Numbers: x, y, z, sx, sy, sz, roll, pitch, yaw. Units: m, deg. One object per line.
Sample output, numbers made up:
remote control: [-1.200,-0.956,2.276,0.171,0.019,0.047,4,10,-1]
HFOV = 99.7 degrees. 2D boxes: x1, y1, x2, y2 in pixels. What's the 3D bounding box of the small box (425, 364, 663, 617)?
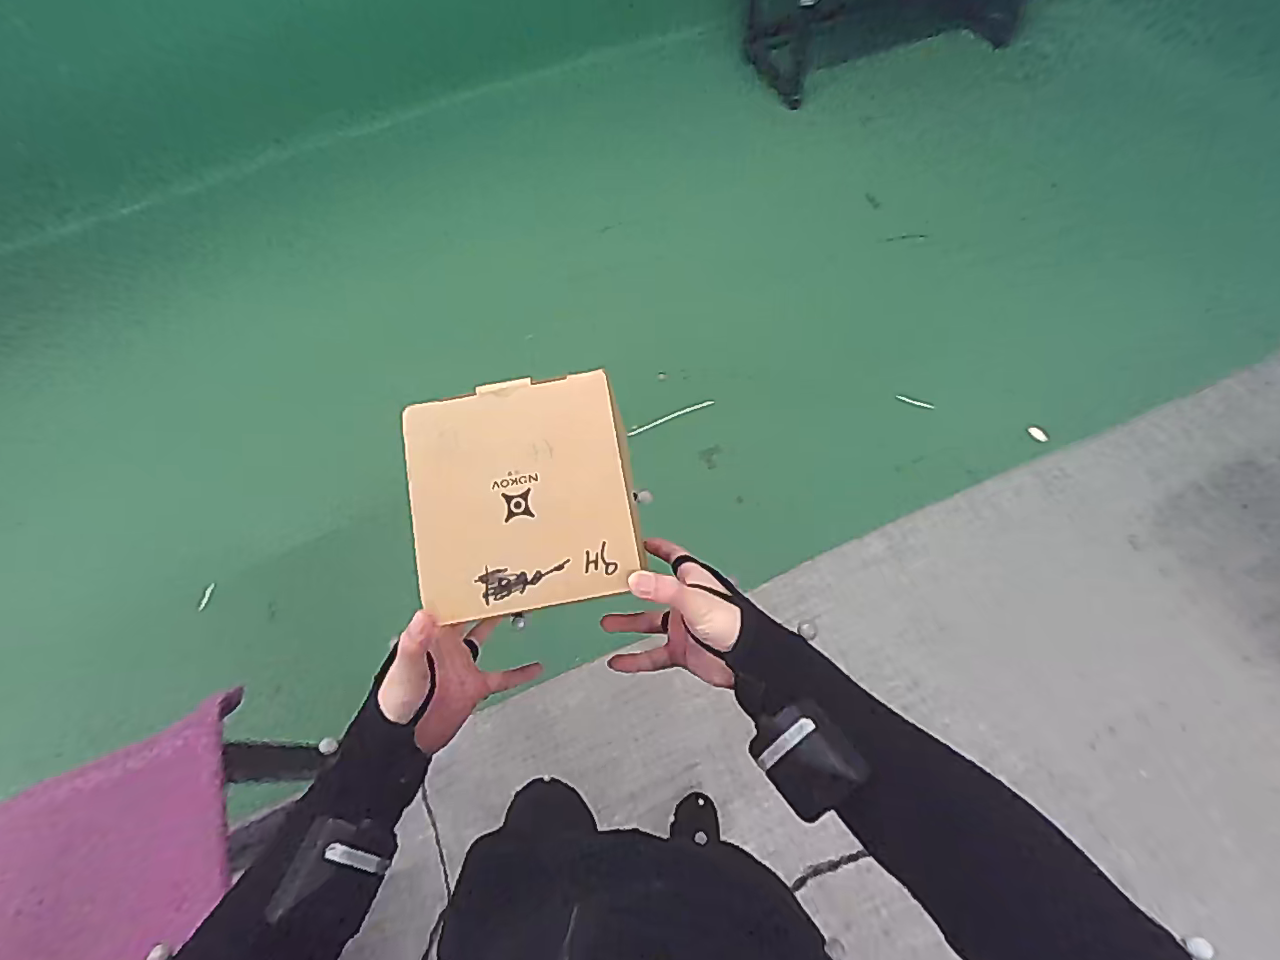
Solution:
small box: [-0.073,0.021,0.480,0.168,0.176,0.179,-9,78,2]
